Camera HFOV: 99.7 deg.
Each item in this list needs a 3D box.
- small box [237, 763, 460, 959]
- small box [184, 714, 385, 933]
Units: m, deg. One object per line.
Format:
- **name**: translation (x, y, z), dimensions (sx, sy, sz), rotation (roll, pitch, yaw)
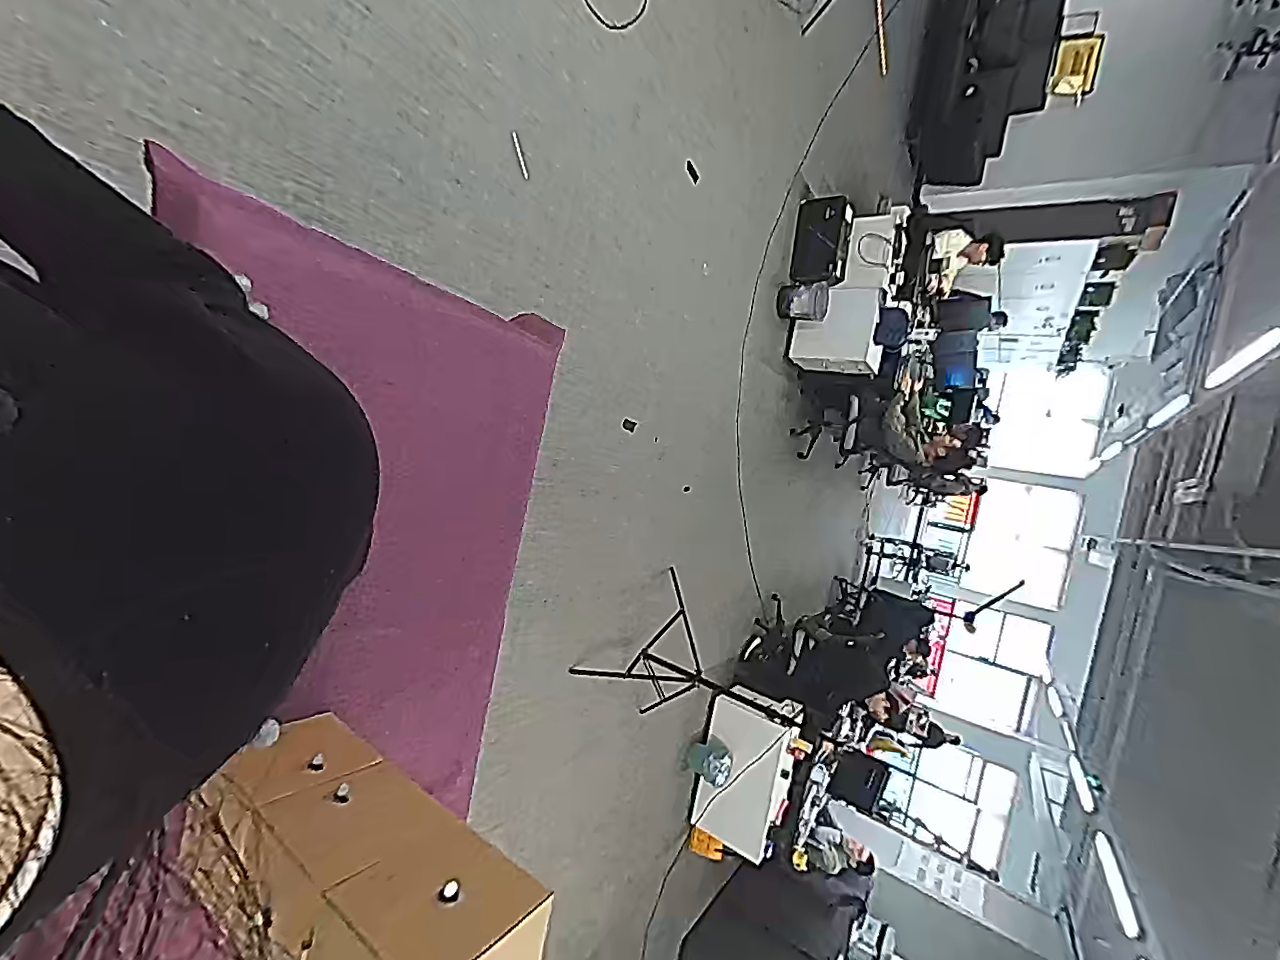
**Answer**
- **small box**: translation (-0.361, 0.489, 0.671), dimensions (0.179, 0.176, 0.168), rotation (11, 91, -57)
- **small box**: translation (-0.497, 0.458, 0.757), dimensions (0.179, 0.176, 0.168), rotation (9, 92, -57)
